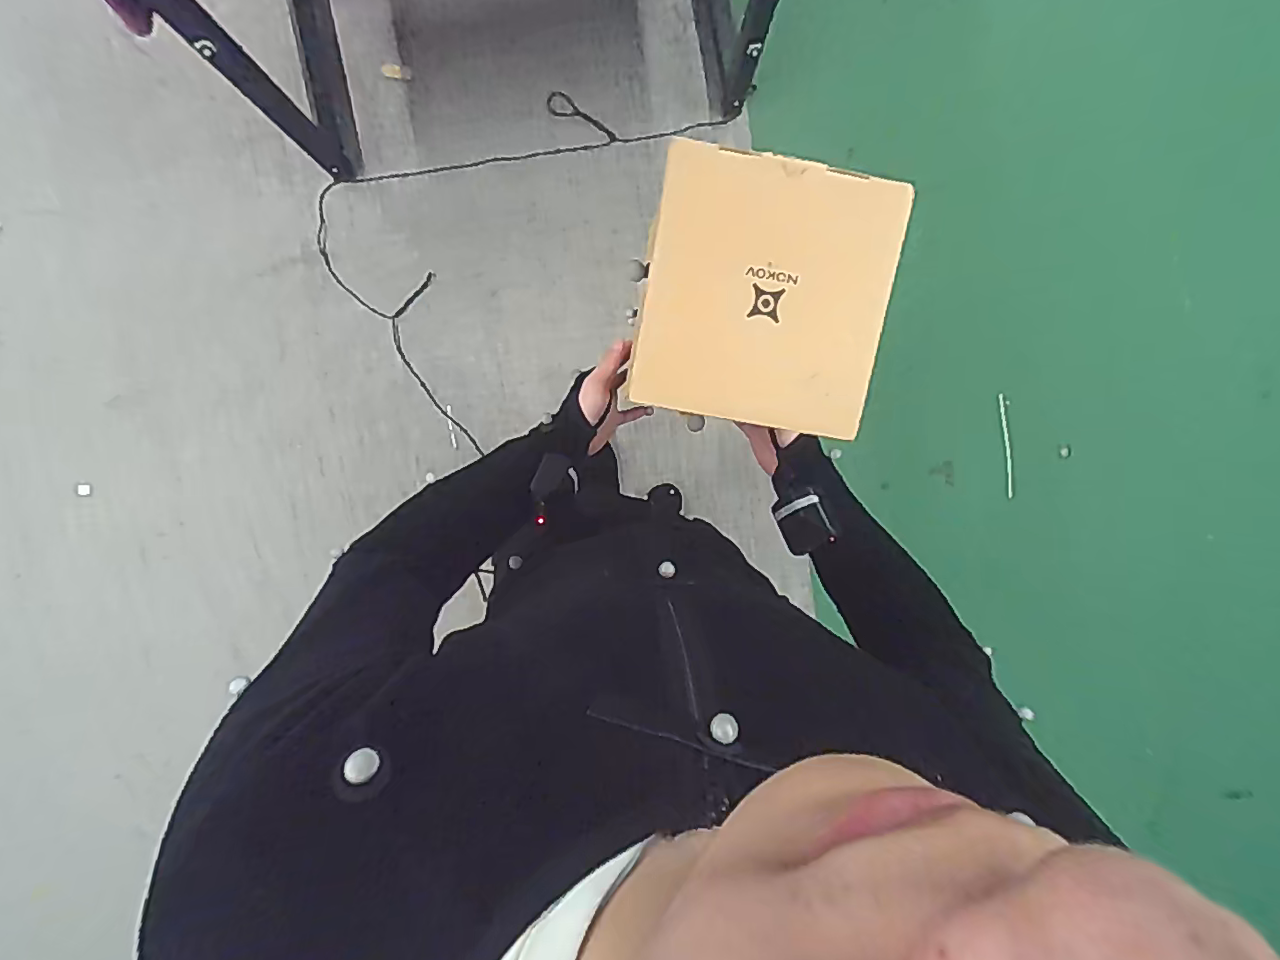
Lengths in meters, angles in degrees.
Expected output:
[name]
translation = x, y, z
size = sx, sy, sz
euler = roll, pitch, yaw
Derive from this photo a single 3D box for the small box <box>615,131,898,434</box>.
[small box]
translation = 0.077, -0.143, 0.448
size = 0.168, 0.176, 0.179
euler = 10, 98, -3
